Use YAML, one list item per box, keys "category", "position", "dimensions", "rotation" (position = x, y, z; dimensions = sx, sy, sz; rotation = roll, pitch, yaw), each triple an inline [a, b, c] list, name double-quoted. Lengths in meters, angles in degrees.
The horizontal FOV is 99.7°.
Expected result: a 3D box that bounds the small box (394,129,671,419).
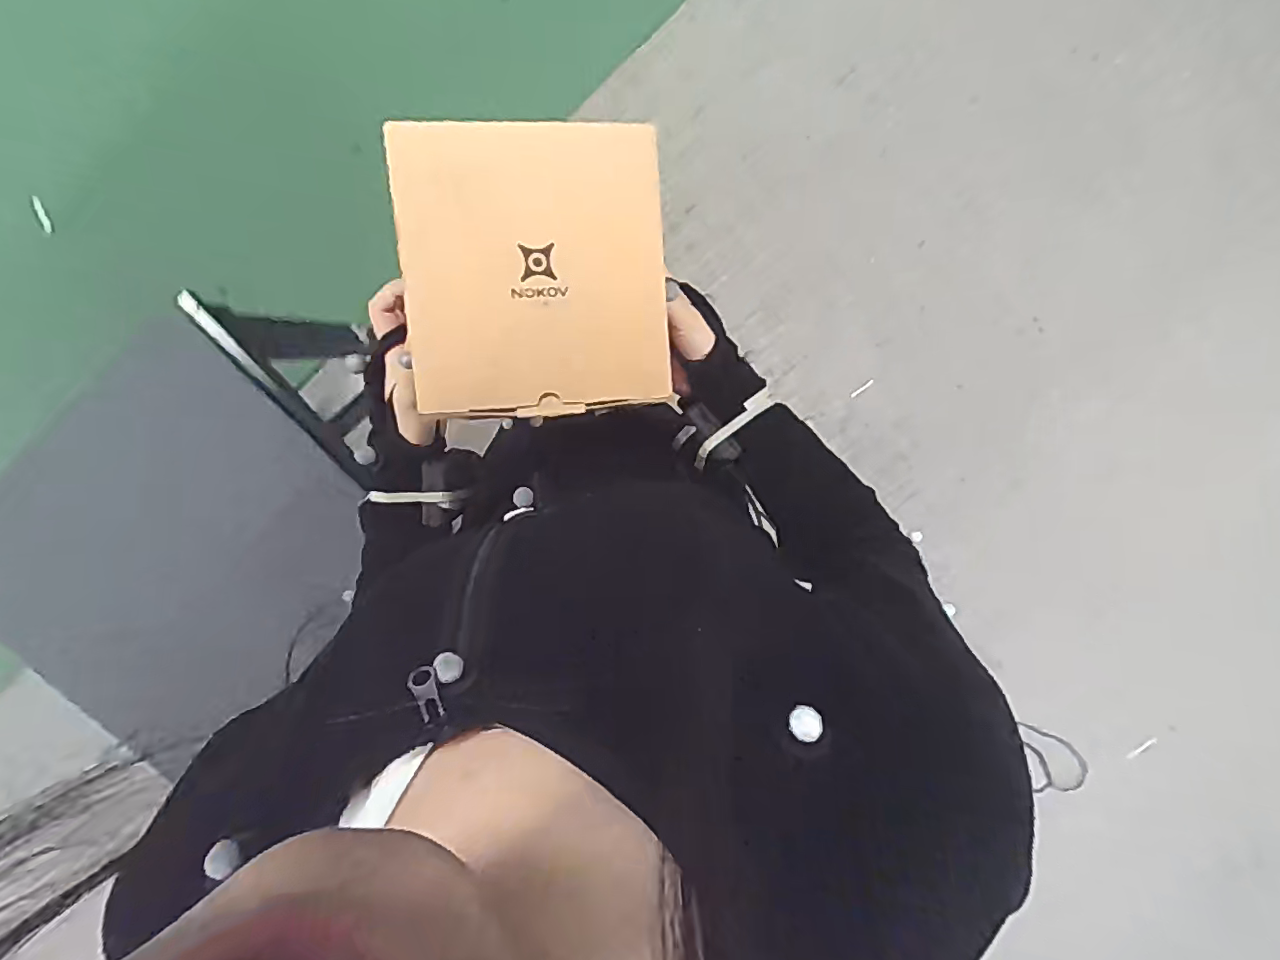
- category: "small box"
  position: [-0.078, -0.140, 0.425]
  dimensions: [0.168, 0.176, 0.179]
  rotation: [-6, 98, -9]
